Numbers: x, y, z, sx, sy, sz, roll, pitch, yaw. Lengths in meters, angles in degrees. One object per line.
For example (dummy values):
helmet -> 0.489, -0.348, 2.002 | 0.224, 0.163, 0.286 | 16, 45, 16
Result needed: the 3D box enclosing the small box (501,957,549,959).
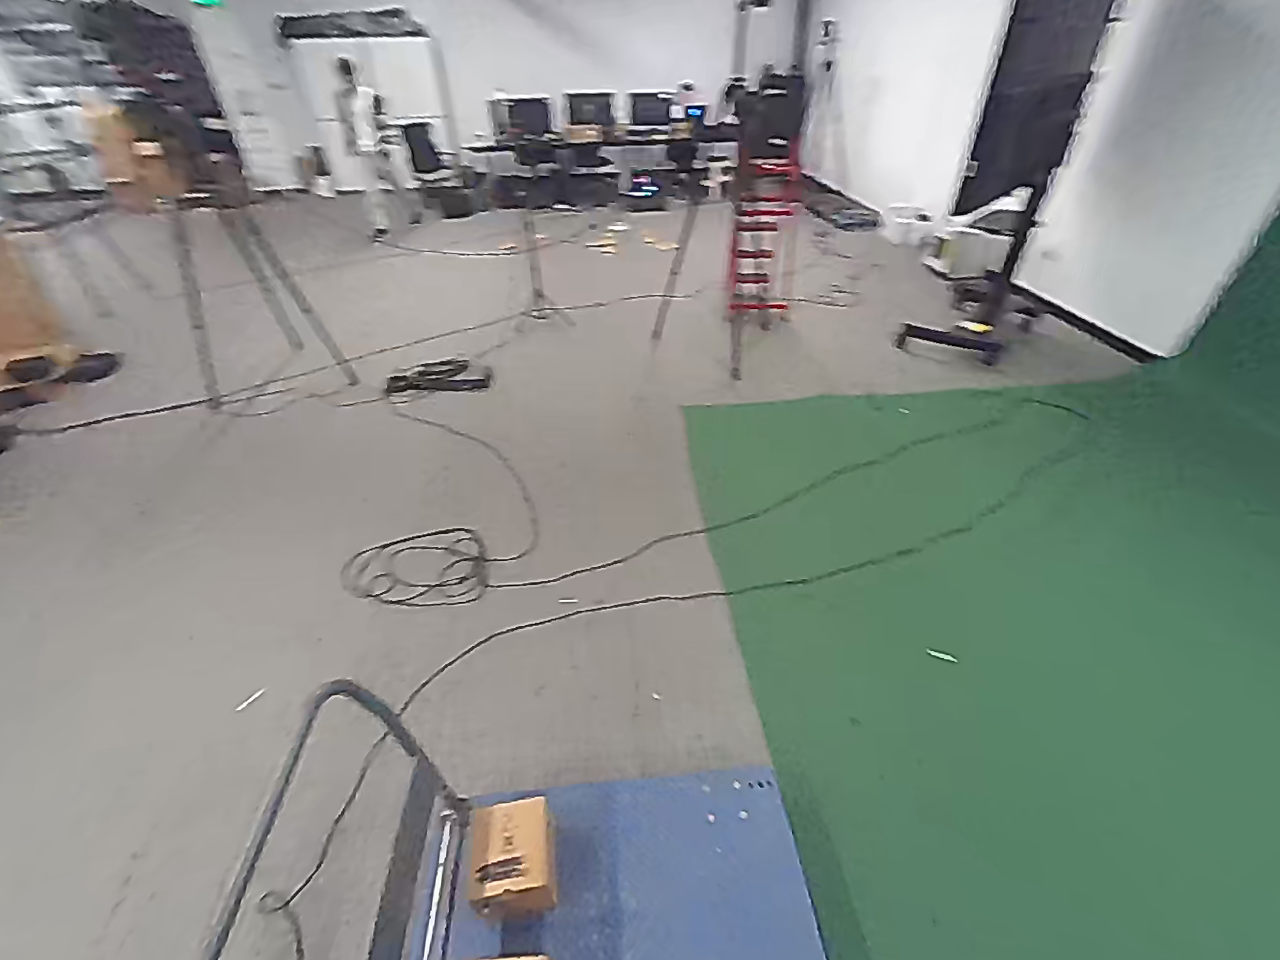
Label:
small box -> -0.254, 1.015, 1.002 | 0.179, 0.176, 0.168 | -2, 39, -2
